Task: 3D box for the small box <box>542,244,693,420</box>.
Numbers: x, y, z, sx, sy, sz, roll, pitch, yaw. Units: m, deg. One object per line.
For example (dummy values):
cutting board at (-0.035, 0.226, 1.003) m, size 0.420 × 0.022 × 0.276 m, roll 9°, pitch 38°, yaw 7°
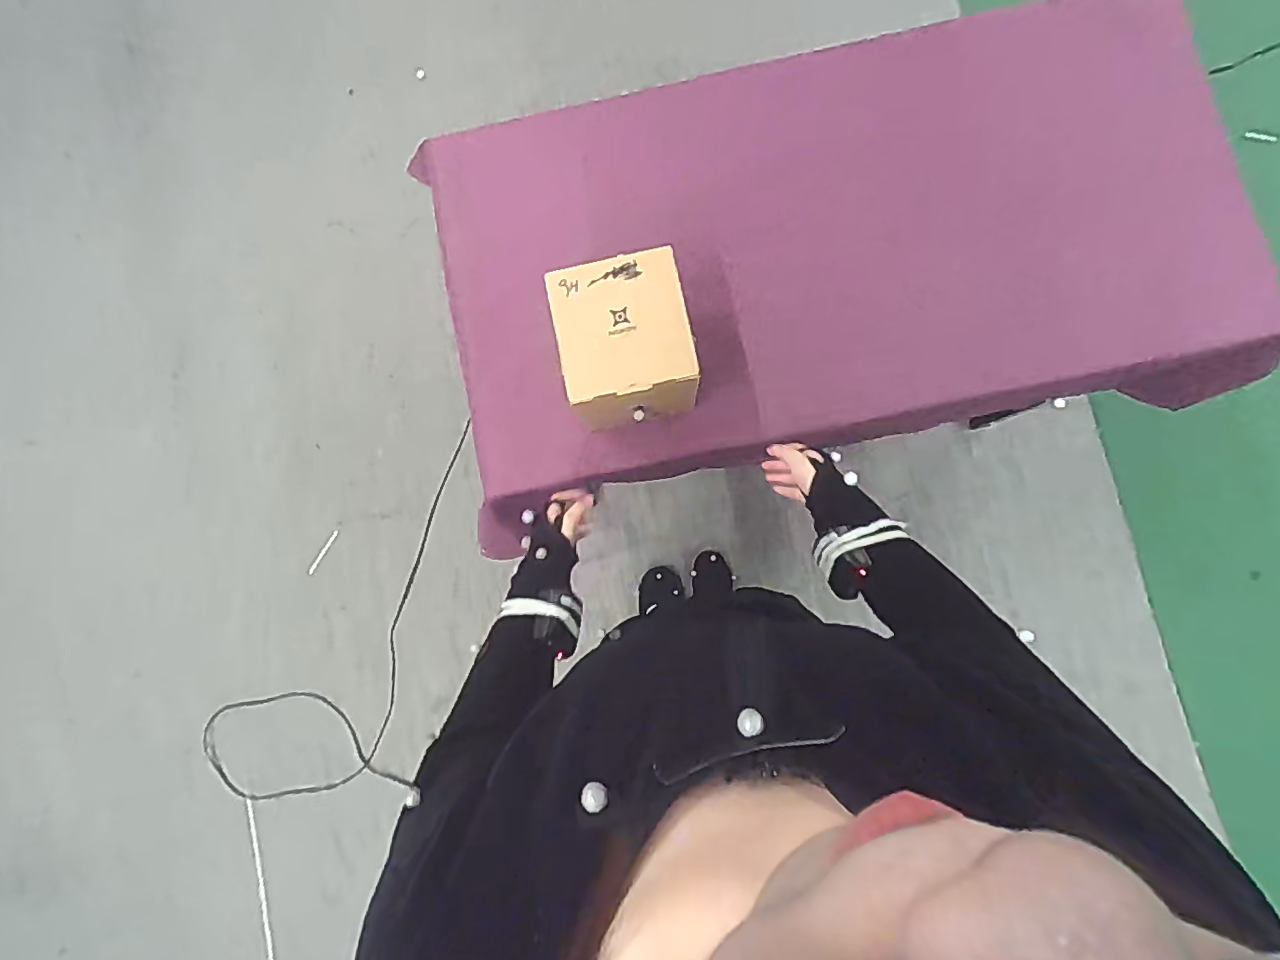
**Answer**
small box at (-0.023, -0.188, 0.747) m, size 0.168 × 0.176 × 0.179 m, roll -12°, pitch 84°, yaw 2°
